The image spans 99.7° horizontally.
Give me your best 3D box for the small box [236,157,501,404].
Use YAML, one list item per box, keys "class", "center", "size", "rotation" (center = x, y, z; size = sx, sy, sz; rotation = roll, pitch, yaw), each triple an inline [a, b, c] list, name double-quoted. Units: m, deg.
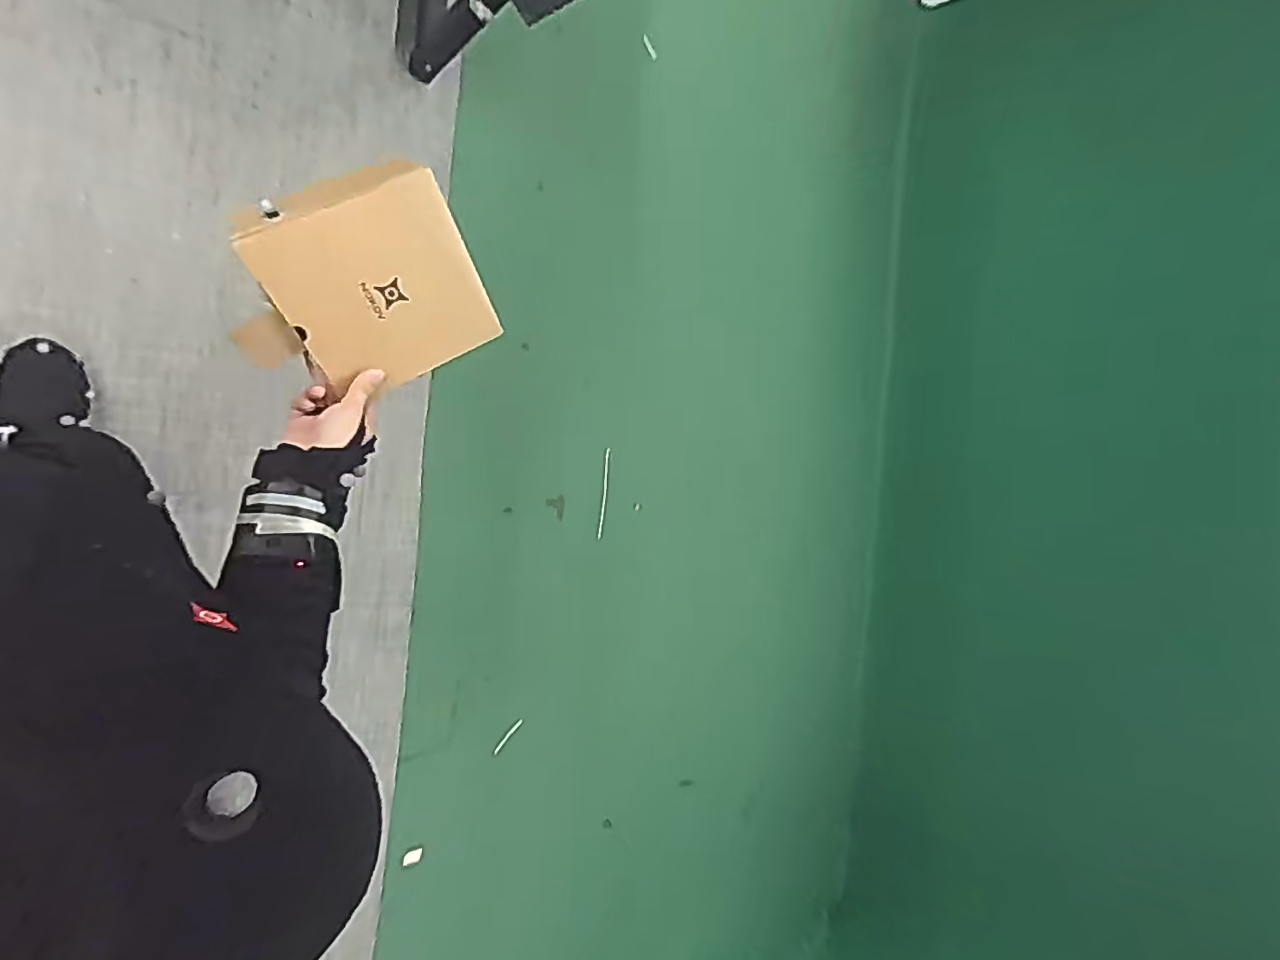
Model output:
- class: "small box"
  center: [-0.278, -0.214, 0.556]
  size: [0.179, 0.176, 0.168]
  rotation: [-32, 134, -16]
